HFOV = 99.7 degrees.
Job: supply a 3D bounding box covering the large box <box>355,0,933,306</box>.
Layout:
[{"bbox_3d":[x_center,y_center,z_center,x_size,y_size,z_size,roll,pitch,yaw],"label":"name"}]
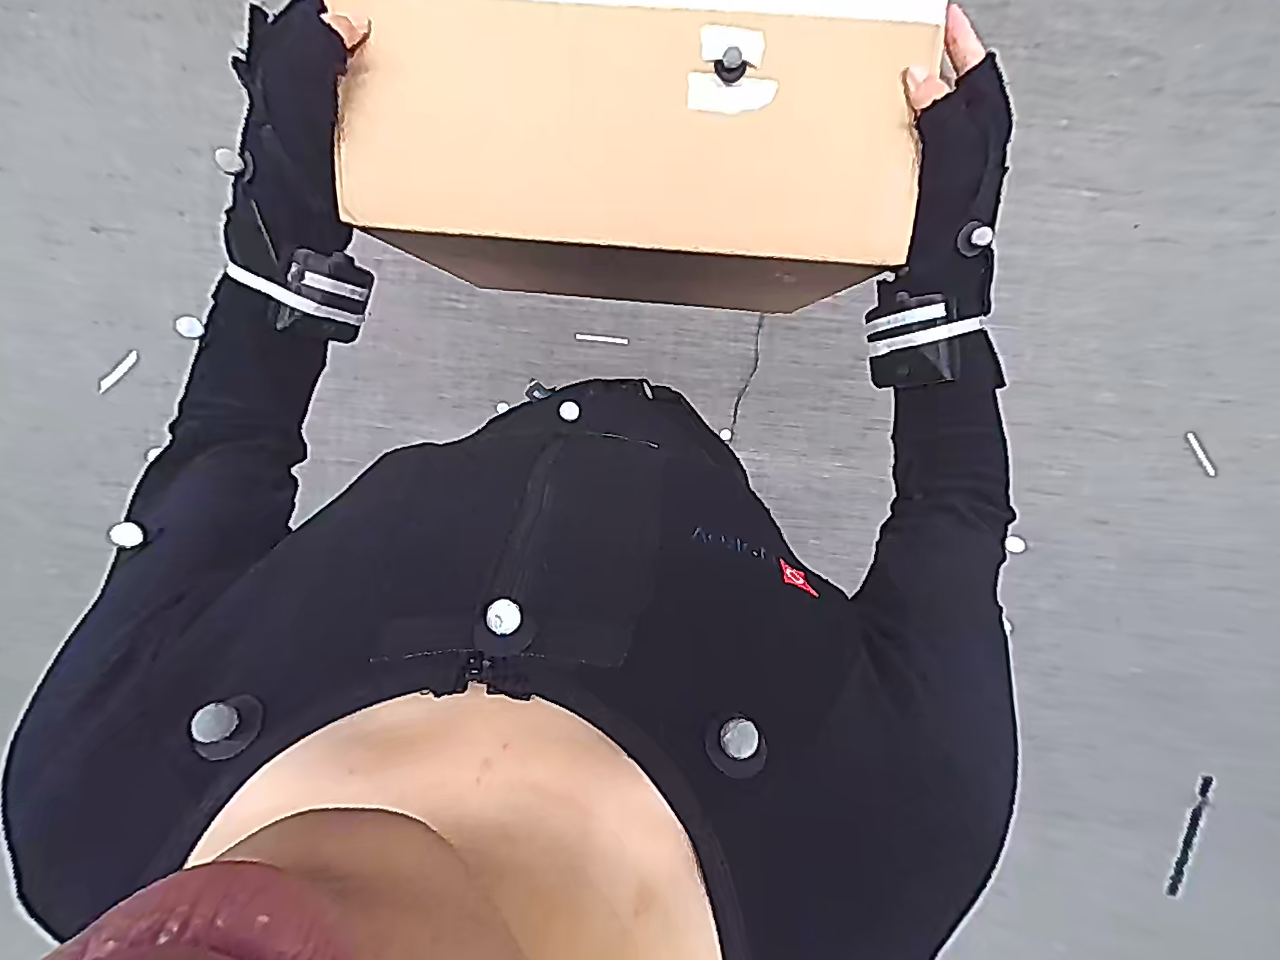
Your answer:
[{"bbox_3d":[0.003,-0.356,0.517,0.408,0.320,0.320,4,101,0],"label":"large box"}]
